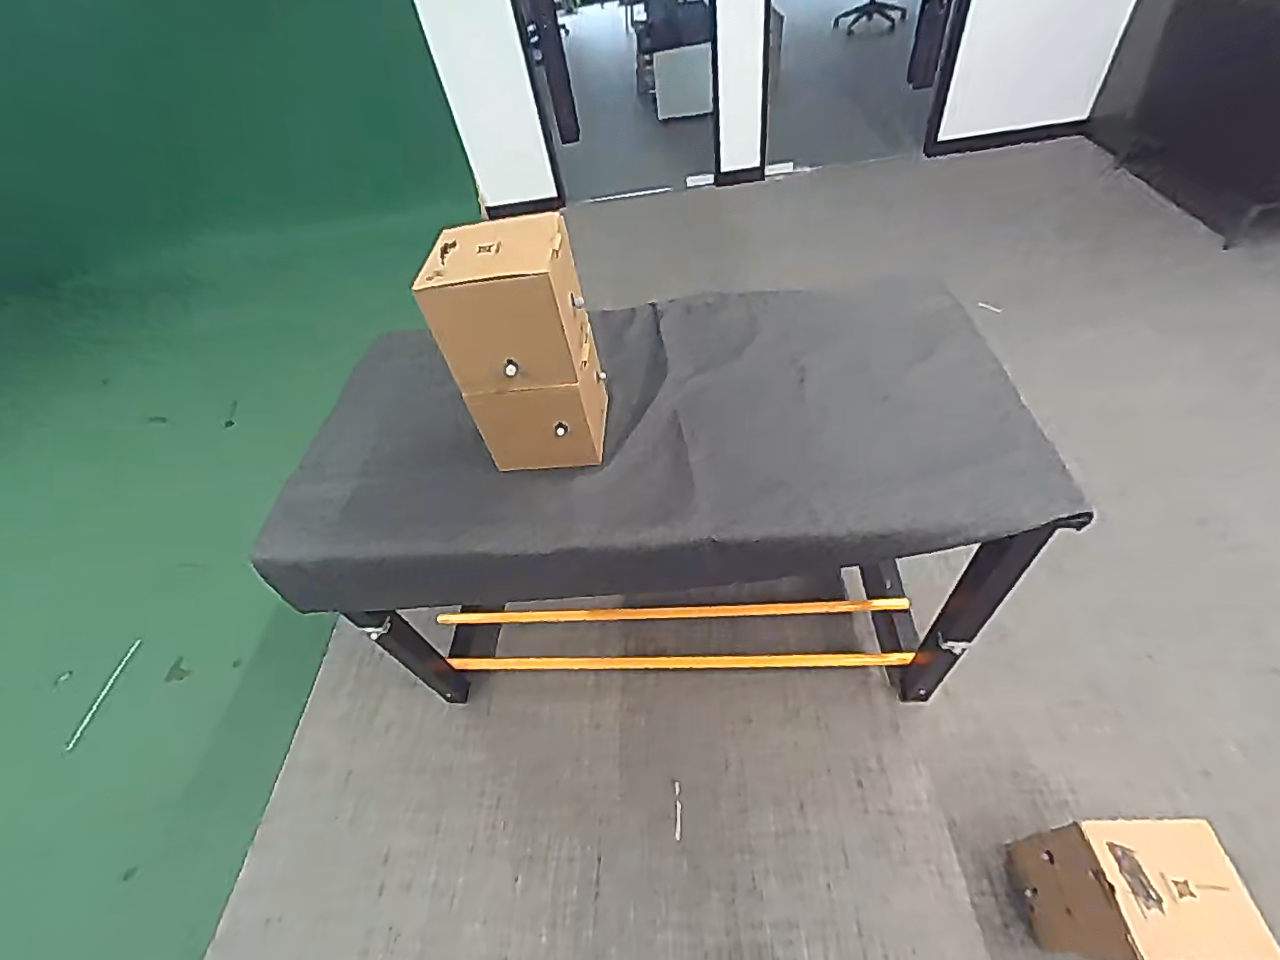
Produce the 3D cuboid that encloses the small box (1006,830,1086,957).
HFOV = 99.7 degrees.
[{"bbox_3d":[0.787,0.723,0.942,0.179,0.176,0.168,-3,48,8],"label":"small box"}]

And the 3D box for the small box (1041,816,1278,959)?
[{"bbox_3d":[0.753,0.620,0.818,0.179,0.176,0.168,-4,49,5],"label":"small box"}]

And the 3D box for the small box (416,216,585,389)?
[{"bbox_3d":[-0.180,-0.247,0.767,0.179,0.176,0.168,-4,48,6],"label":"small box"}]

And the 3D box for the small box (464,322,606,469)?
[{"bbox_3d":[-0.157,-0.134,0.884,0.179,0.176,0.168,-4,47,7],"label":"small box"}]
